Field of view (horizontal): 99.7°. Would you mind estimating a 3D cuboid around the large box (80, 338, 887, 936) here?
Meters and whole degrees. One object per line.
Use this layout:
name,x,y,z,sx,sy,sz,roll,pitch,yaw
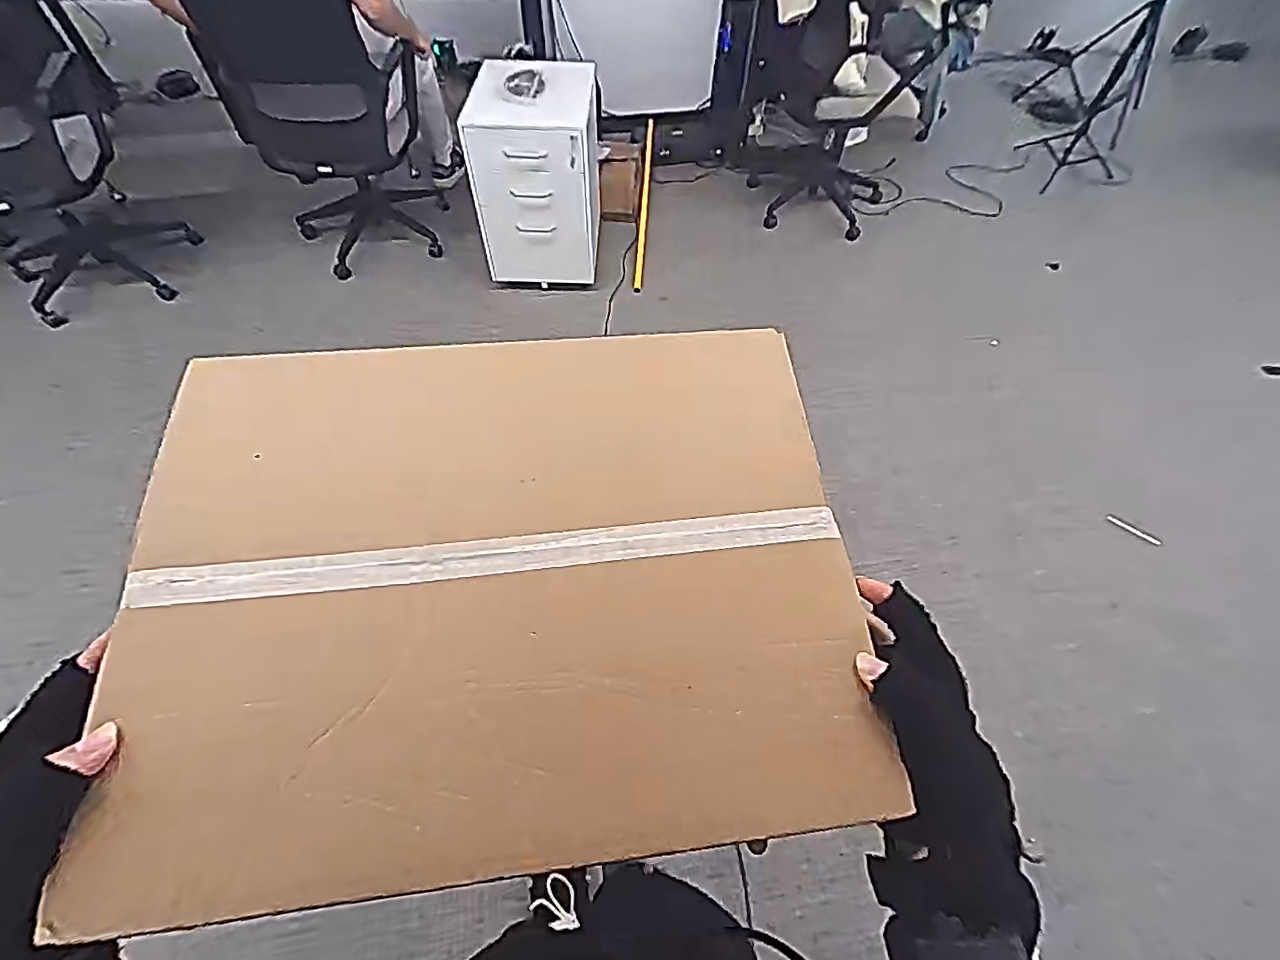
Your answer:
large box,-0.087,0.111,0.461,0.408,0.320,0.320,-5,65,-5
